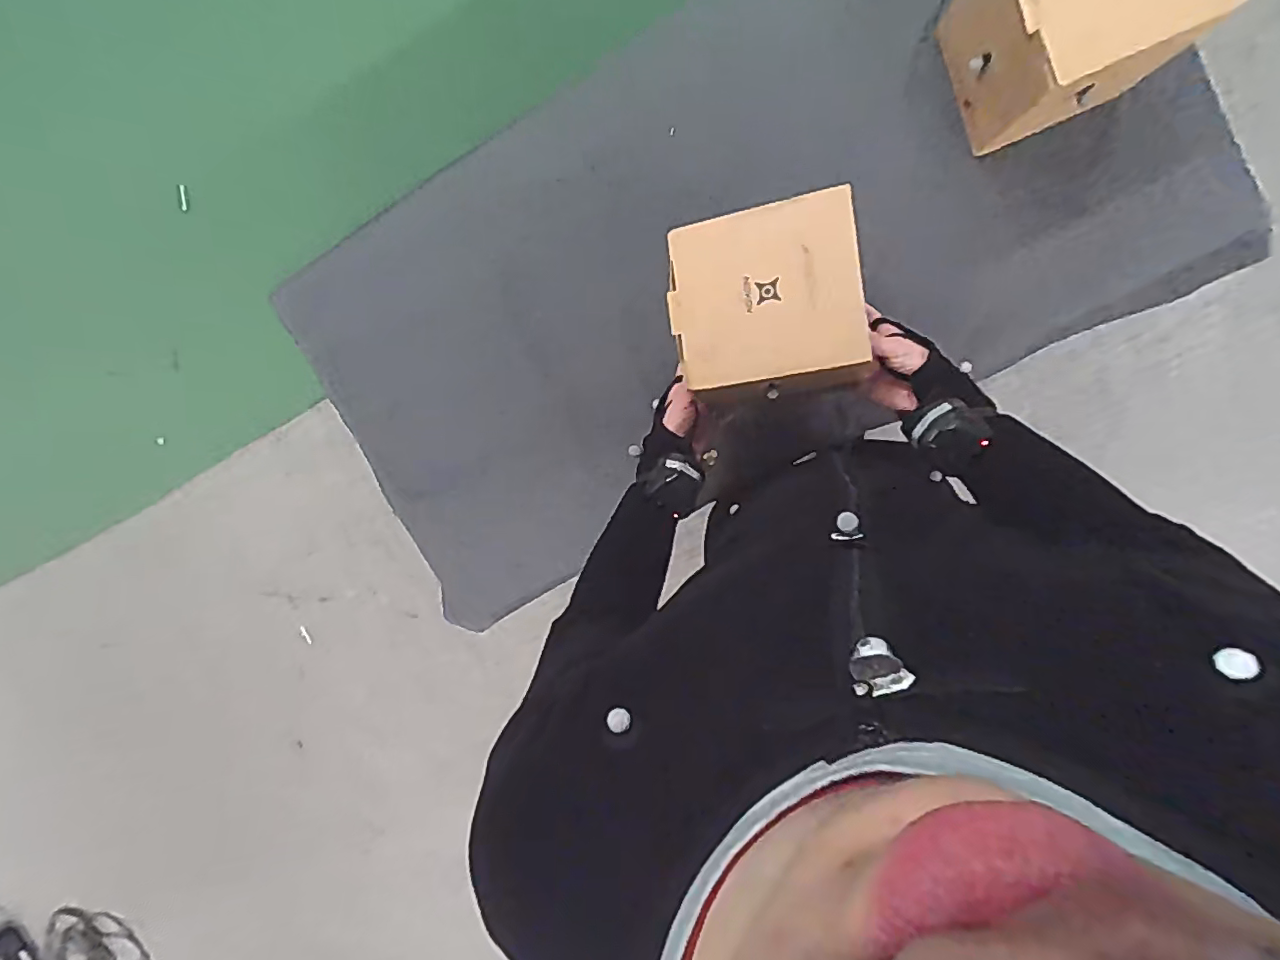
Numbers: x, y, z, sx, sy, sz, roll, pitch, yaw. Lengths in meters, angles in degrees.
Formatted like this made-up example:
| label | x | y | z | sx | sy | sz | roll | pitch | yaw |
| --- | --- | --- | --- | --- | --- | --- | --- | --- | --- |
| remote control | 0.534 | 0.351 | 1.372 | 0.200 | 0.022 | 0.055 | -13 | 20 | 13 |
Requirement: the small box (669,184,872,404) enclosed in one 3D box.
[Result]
| label | x | y | z | sx | sy | sz | roll | pitch | yaw |
| --- | --- | --- | --- | --- | --- | --- | --- | --- | --- |
| small box | 0.142 | -0.182 | 0.589 | 0.179 | 0.176 | 0.168 | -7 | 91 | 16 |

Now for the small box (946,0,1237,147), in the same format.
| label | x | y | z | sx | sy | sz | roll | pitch | yaw |
| --- | --- | --- | --- | --- | --- | --- | --- | --- | --- |
| small box | 0.464 | -0.506 | 0.590 | 0.179 | 0.176 | 0.168 | -20 | 97 | 10 |
